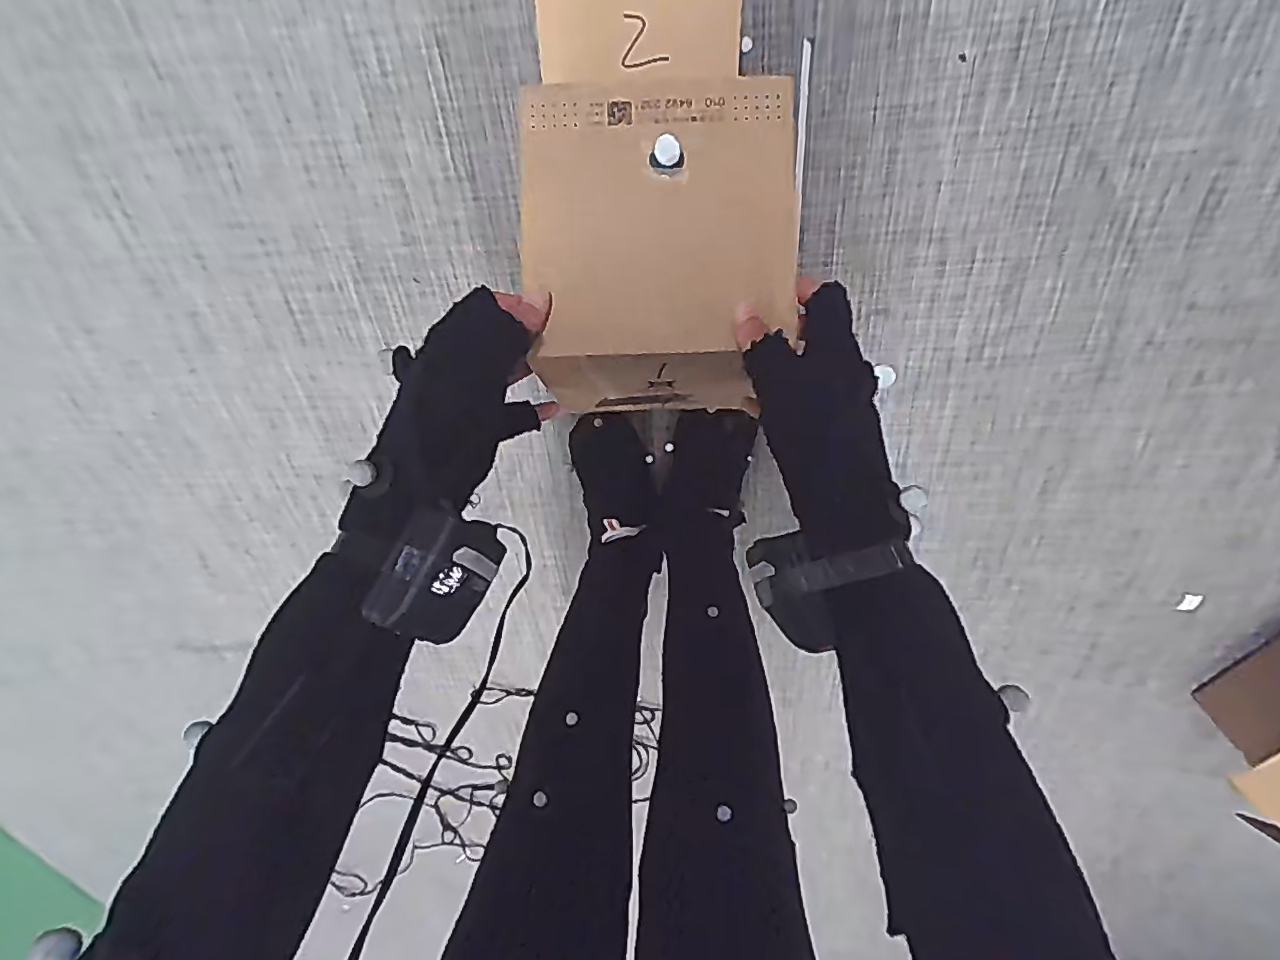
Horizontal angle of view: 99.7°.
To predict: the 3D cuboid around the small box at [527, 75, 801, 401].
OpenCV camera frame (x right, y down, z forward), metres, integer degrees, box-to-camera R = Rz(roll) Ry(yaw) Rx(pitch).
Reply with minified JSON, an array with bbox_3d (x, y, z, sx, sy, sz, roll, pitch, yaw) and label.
[{"bbox_3d":[0.014,-0.156,0.403,0.168,0.179,0.176,-2,89,0],"label":"small box"}]
